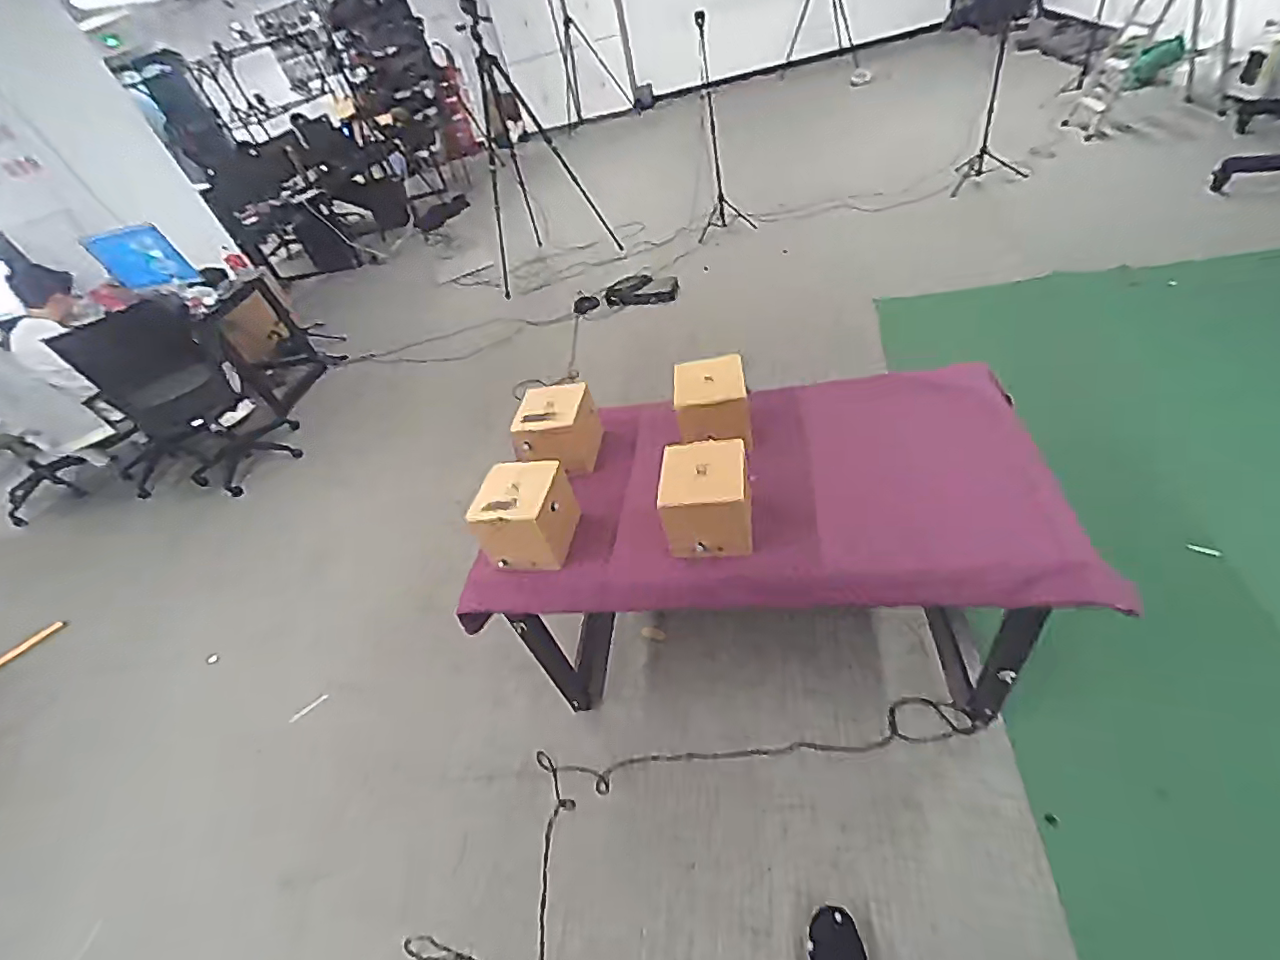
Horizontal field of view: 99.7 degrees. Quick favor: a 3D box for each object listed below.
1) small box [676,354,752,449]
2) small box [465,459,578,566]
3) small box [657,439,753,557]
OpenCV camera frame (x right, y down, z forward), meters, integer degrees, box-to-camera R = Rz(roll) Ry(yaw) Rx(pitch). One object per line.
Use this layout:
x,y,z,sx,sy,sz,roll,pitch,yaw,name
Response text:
0.181,-0.182,1.328,0.168,0.176,0.179,-7,45,10,small box
-0.249,0.076,1.195,0.168,0.176,0.179,-2,43,16,small box
0.140,0.039,1.111,0.168,0.176,0.179,-4,44,15,small box
